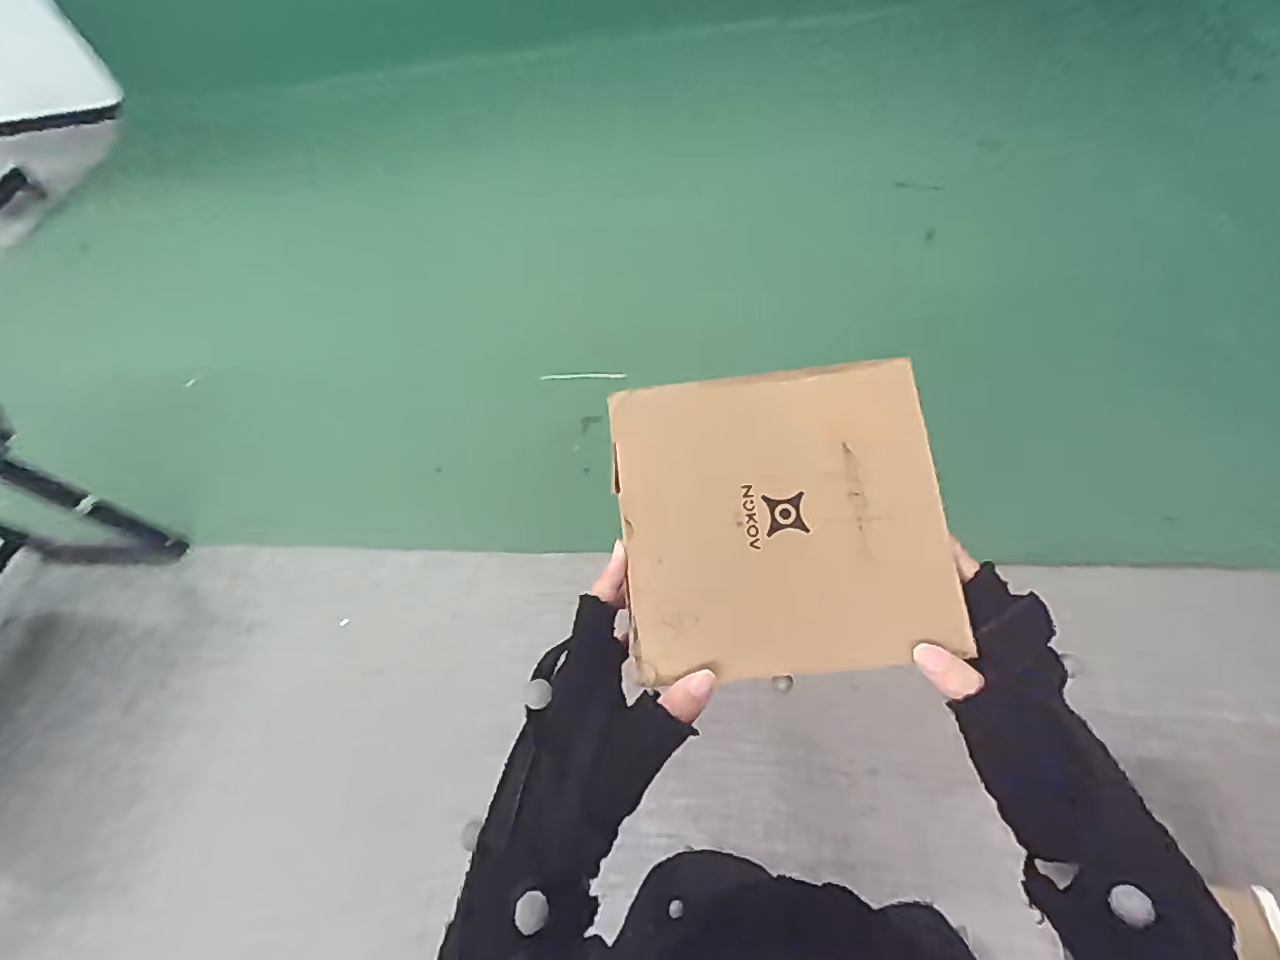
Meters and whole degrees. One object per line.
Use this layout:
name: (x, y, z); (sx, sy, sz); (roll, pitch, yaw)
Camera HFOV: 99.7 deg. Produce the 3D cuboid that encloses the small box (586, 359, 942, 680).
small box: (0.067, 0.035, 0.378); (0.179, 0.176, 0.168); (-8, 78, 1)
